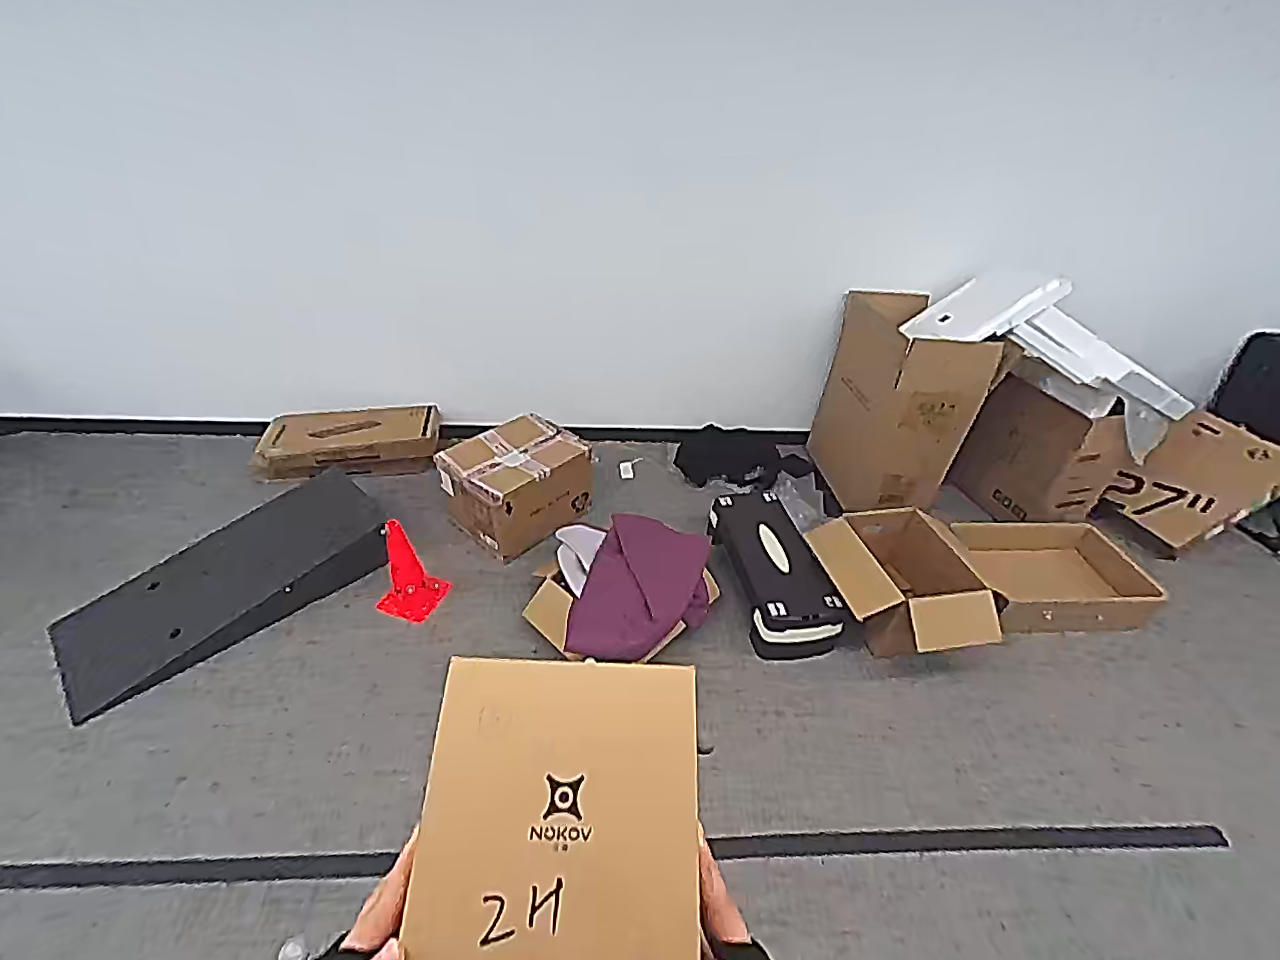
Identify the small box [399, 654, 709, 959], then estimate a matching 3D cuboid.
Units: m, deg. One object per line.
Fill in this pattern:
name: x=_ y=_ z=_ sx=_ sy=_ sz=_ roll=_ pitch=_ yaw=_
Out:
small box: x=-0.045 y=0.233 z=0.386 sx=0.168 sy=0.176 sz=0.179 roll=2 pitch=62 yaw=0
